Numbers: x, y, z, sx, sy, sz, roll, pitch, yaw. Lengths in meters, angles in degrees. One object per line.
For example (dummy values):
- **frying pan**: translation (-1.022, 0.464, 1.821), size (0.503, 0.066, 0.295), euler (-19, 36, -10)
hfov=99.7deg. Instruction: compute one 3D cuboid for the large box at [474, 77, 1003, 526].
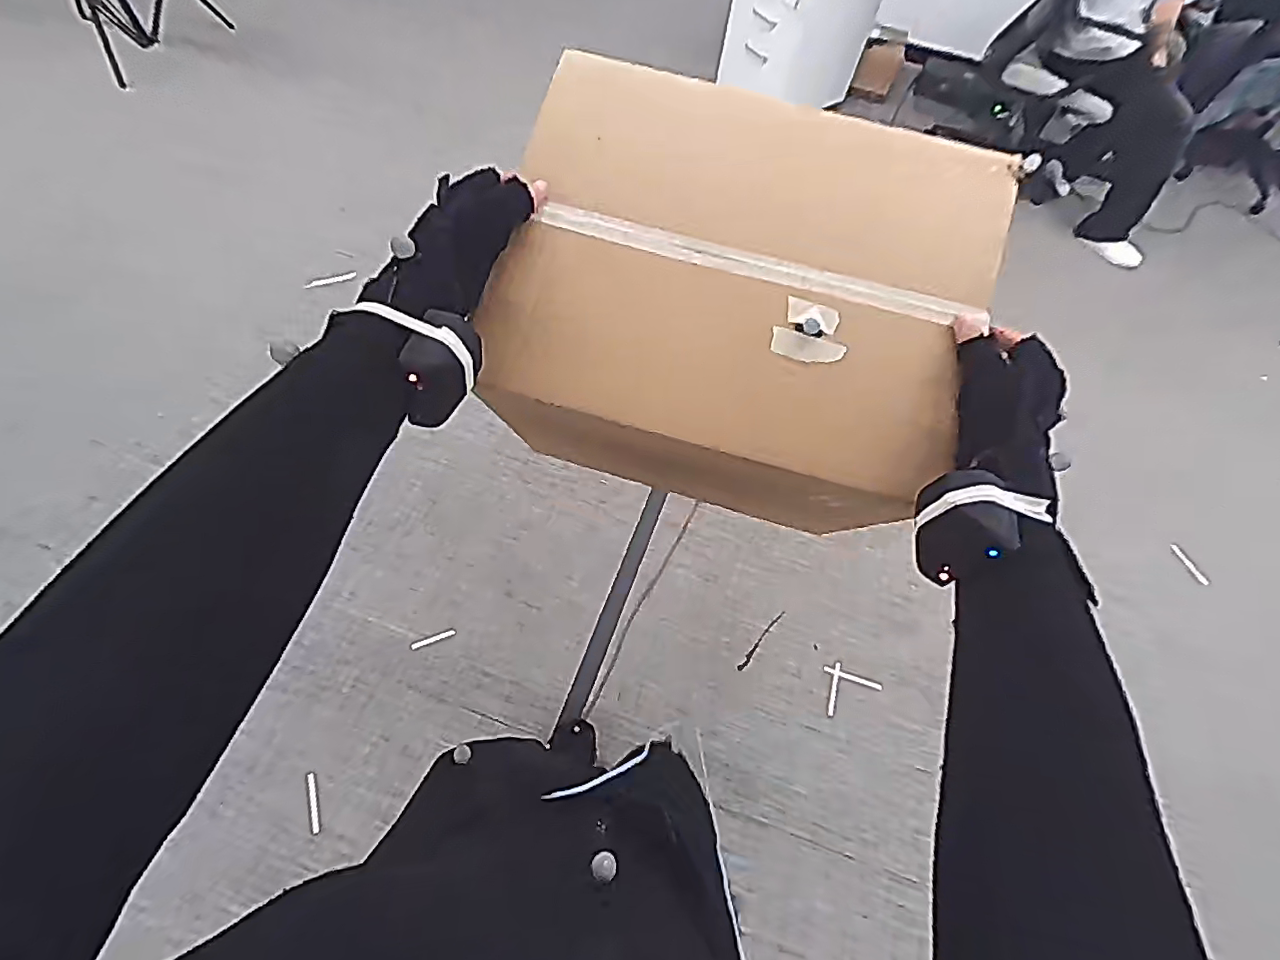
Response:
- **large box**: translation (0.090, -0.154, 0.611), size (0.408, 0.320, 0.320), euler (16, 83, 3)
